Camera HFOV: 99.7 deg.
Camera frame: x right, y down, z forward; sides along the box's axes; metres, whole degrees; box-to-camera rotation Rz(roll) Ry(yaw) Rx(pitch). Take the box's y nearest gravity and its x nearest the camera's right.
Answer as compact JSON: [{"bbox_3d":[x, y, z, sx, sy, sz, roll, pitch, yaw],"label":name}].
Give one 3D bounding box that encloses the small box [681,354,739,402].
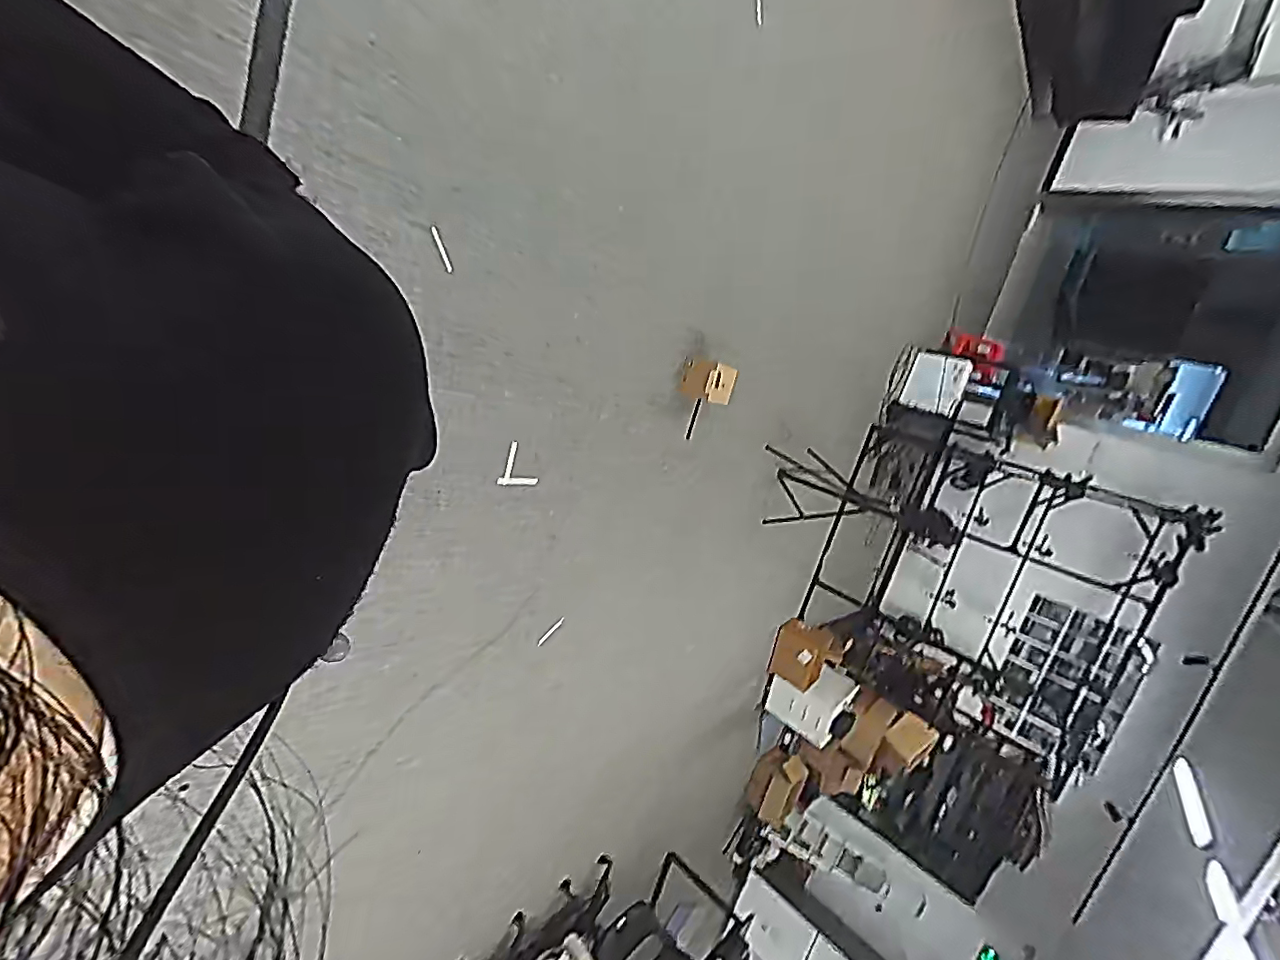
[{"bbox_3d":[0.311,-0.460,2.429,0.179,0.176,0.168,1,109,-50],"label":"small box"}]
